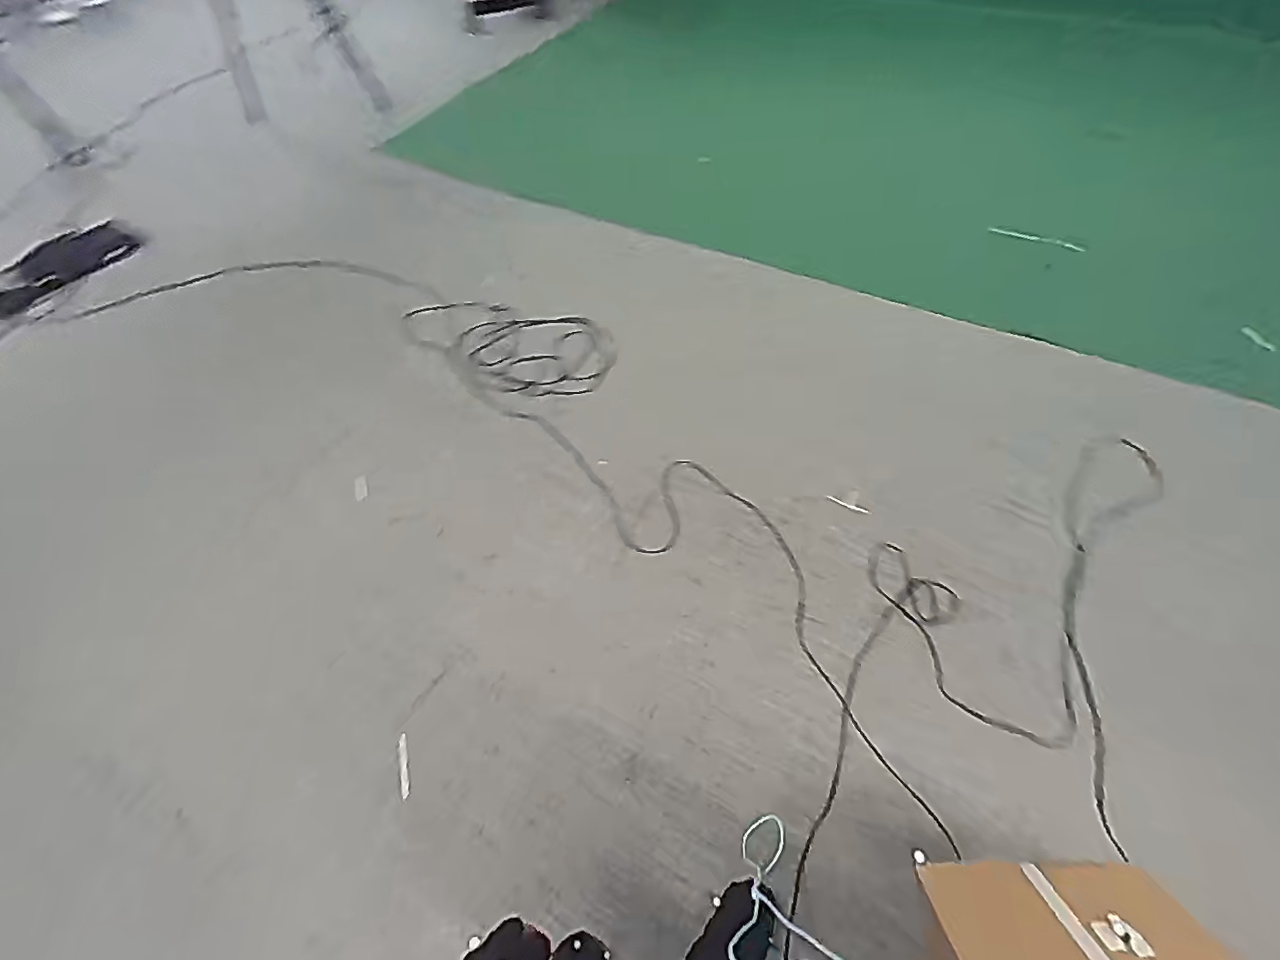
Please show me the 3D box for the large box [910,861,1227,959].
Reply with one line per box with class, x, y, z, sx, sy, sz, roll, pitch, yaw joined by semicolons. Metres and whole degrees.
large box;0.563;0.737;0.628;0.320;0.408;0.320;-6;89;9
